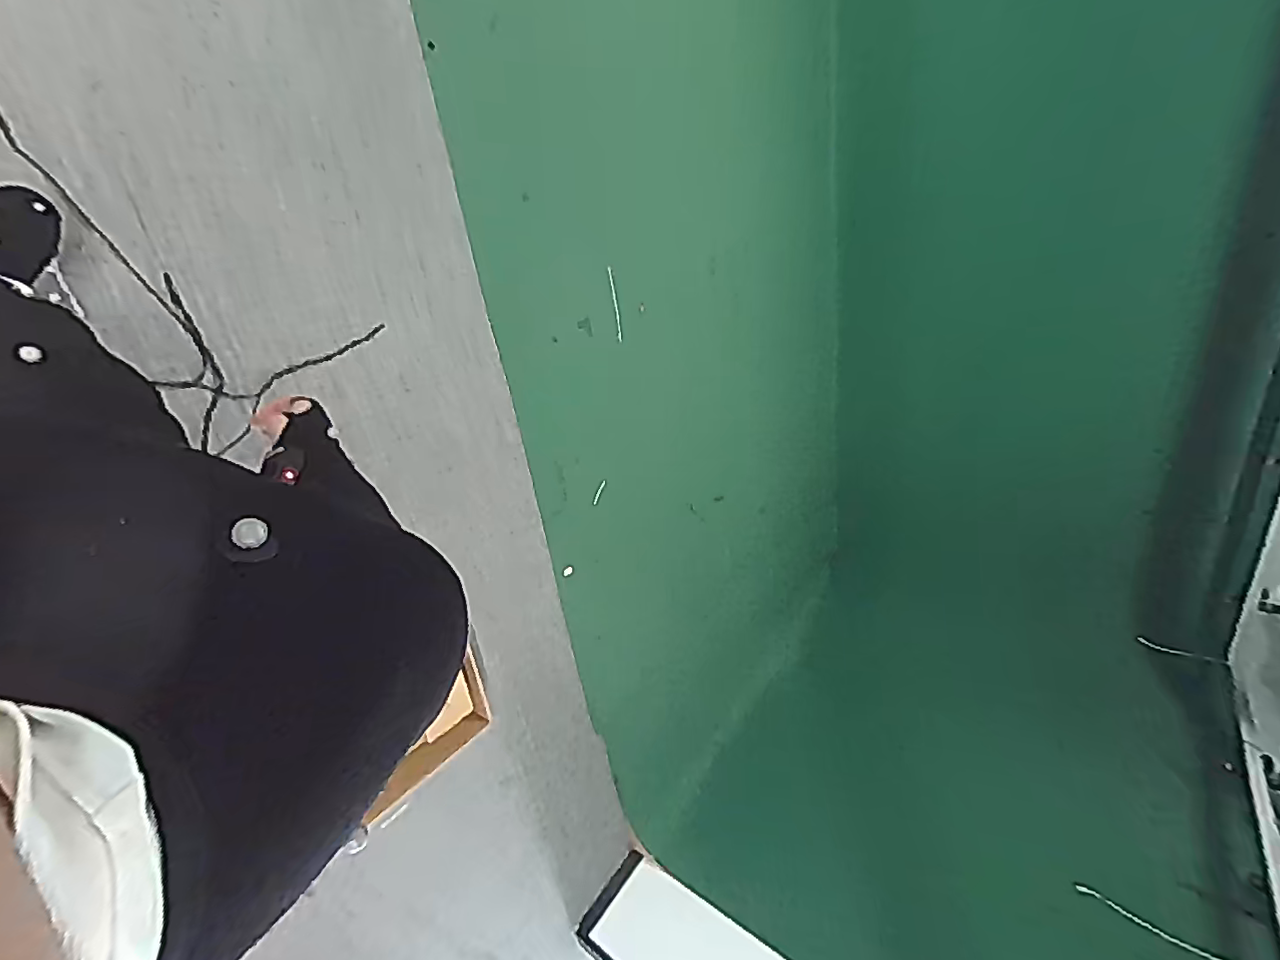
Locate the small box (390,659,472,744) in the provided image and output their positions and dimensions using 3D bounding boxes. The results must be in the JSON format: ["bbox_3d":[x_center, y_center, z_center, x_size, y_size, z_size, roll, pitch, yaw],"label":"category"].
[{"bbox_3d":[-0.677,0.702,1.746,0.168,0.176,0.179,-30,121,-44],"label":"small box"}]
